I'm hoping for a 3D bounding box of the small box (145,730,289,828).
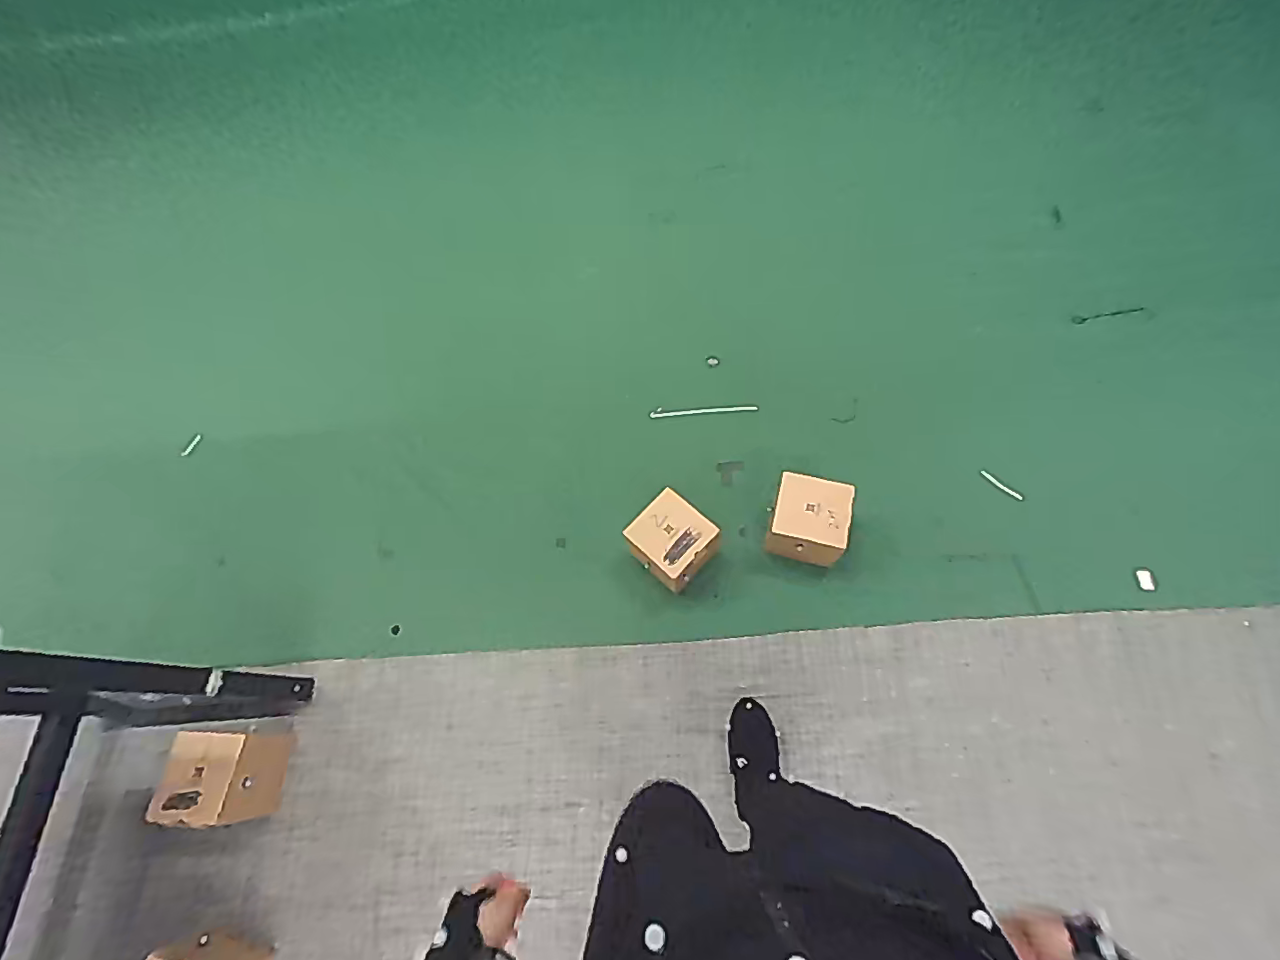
[{"bbox_3d":[-0.944,0.670,1.228,0.168,0.176,0.179,1,65,5],"label":"small box"}]

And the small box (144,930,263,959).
[{"bbox_3d":[-0.888,1.036,1.061,0.168,0.176,0.179,14,69,12],"label":"small box"}]

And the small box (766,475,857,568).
[{"bbox_3d":[0.423,0.109,1.359,0.179,0.176,0.168,14,68,10],"label":"small box"}]
